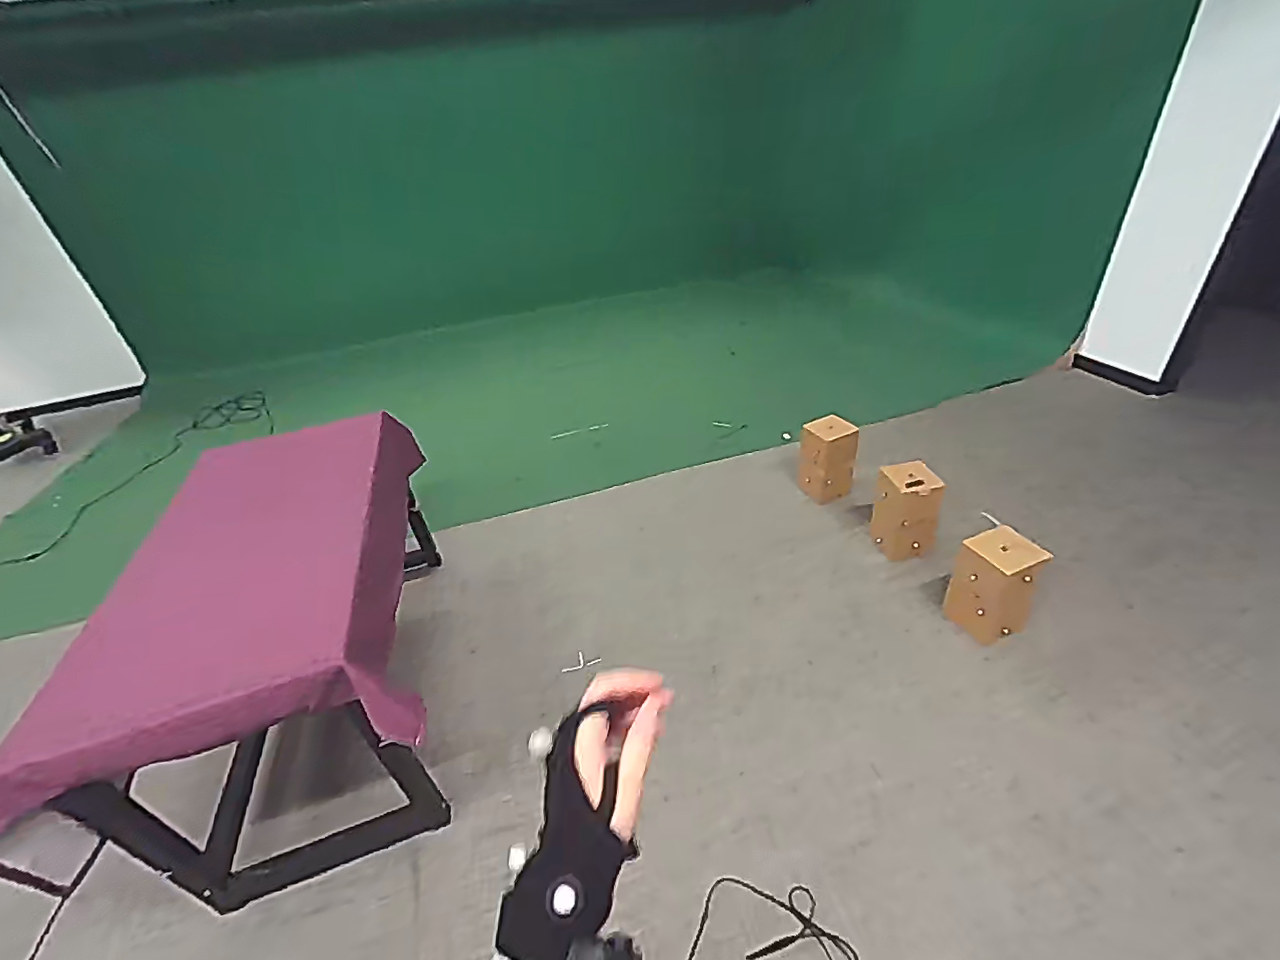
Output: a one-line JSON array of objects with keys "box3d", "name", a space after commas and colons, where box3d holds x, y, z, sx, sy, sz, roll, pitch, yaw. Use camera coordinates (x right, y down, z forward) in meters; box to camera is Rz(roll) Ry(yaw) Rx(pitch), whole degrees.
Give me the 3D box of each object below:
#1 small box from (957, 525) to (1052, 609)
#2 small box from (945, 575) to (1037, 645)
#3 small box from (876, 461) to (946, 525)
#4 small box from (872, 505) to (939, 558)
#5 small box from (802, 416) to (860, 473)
[{"box3d": [1.118, 0.273, 1.678, 0.179, 0.176, 0.168, -17, 36, -13], "name": "small box"}, {"box3d": [1.142, 0.404, 1.776, 0.168, 0.176, 0.179, -18, 36, -13], "name": "small box"}, {"box3d": [1.004, 0.056, 2.019, 0.168, 0.176, 0.179, -10, 33, -2], "name": "small box"}, {"box3d": [1.031, 0.189, 2.112, 0.168, 0.176, 0.179, -10, 34, -3], "name": "small box"}, {"box3d": [0.831, -0.153, 2.363, 0.179, 0.176, 0.168, -20, 36, -17], "name": "small box"}]
